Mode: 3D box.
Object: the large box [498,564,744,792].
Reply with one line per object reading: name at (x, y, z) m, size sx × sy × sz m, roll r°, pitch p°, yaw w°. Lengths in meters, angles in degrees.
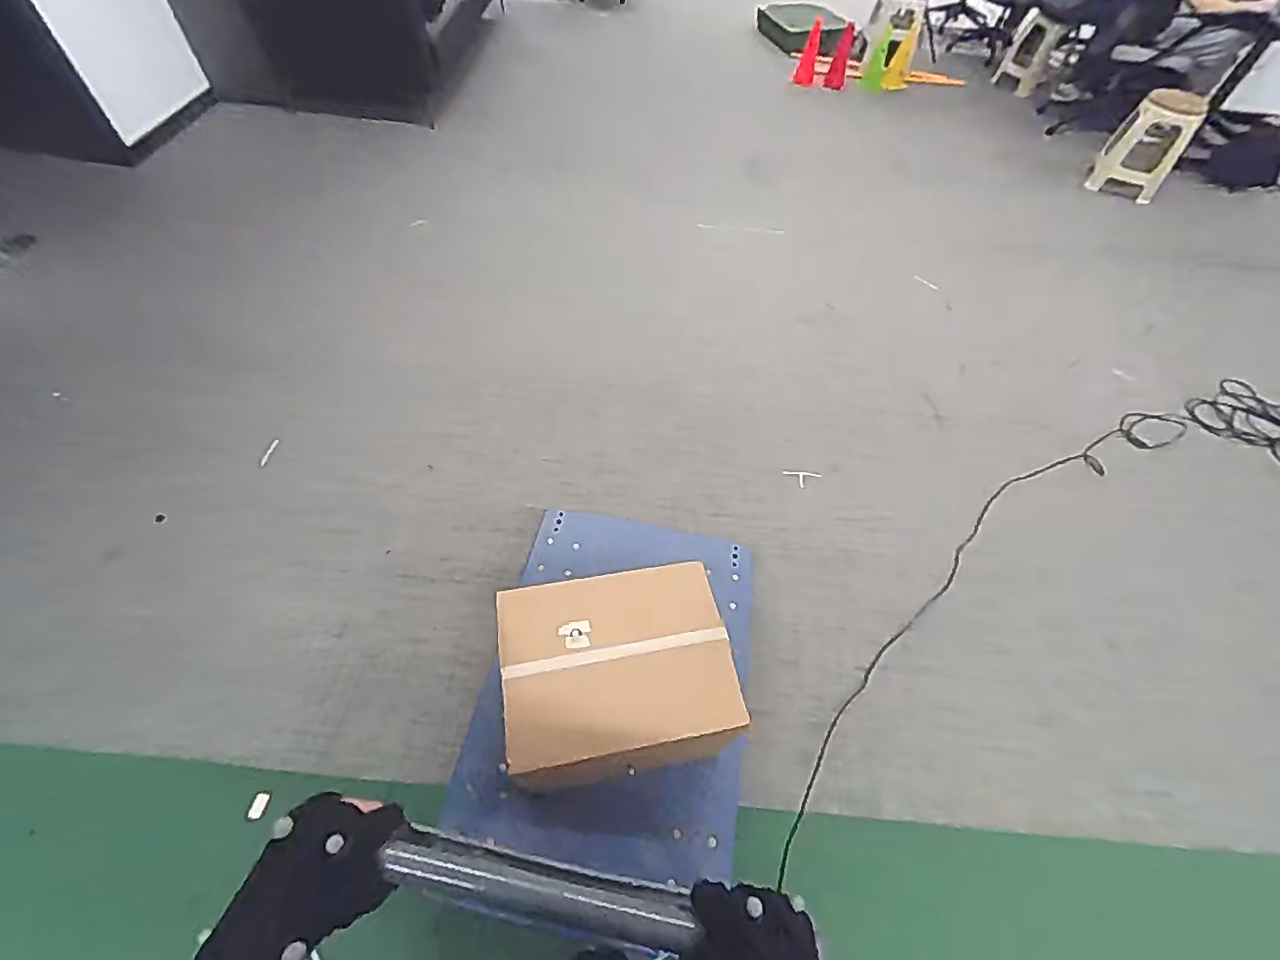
large box at (-0.050, 0.403, 1.089) m, size 0.408 × 0.320 × 0.320 m, roll -8°, pitch 55°, yaw -9°
